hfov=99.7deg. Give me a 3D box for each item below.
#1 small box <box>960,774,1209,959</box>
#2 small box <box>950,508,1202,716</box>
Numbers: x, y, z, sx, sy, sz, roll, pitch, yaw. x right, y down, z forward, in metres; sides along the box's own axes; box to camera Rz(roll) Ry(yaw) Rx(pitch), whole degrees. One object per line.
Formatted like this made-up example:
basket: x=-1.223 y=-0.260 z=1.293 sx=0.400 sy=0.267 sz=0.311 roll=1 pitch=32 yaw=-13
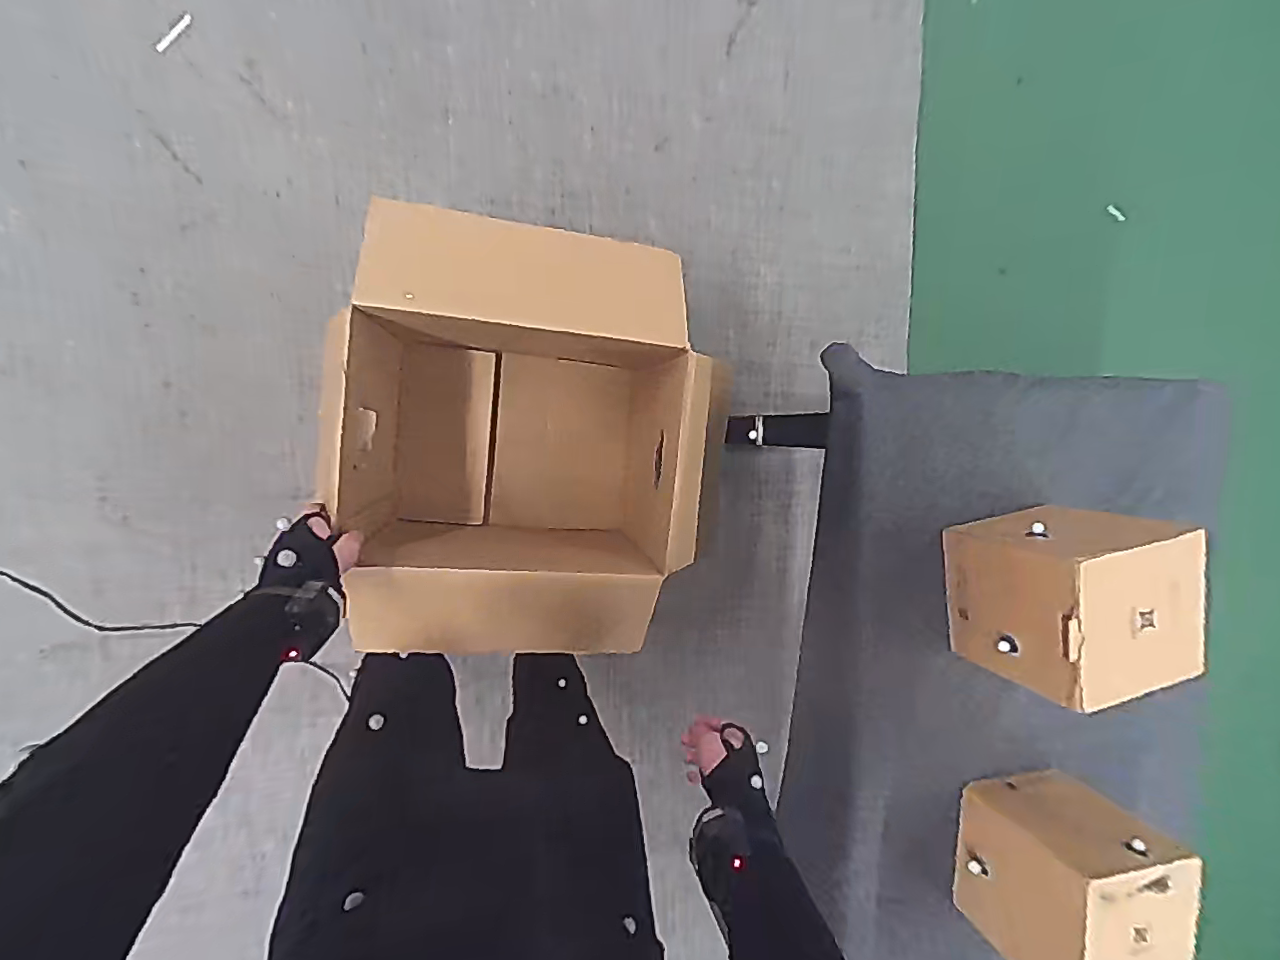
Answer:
small box: x=0.529 y=0.502 z=0.667 sx=0.168 sy=0.176 sz=0.179 roll=0 pitch=95 yaw=-14
small box: x=0.490 y=0.137 z=0.628 sx=0.179 sy=0.176 sz=0.168 roll=-11 pitch=99 yaw=-15
